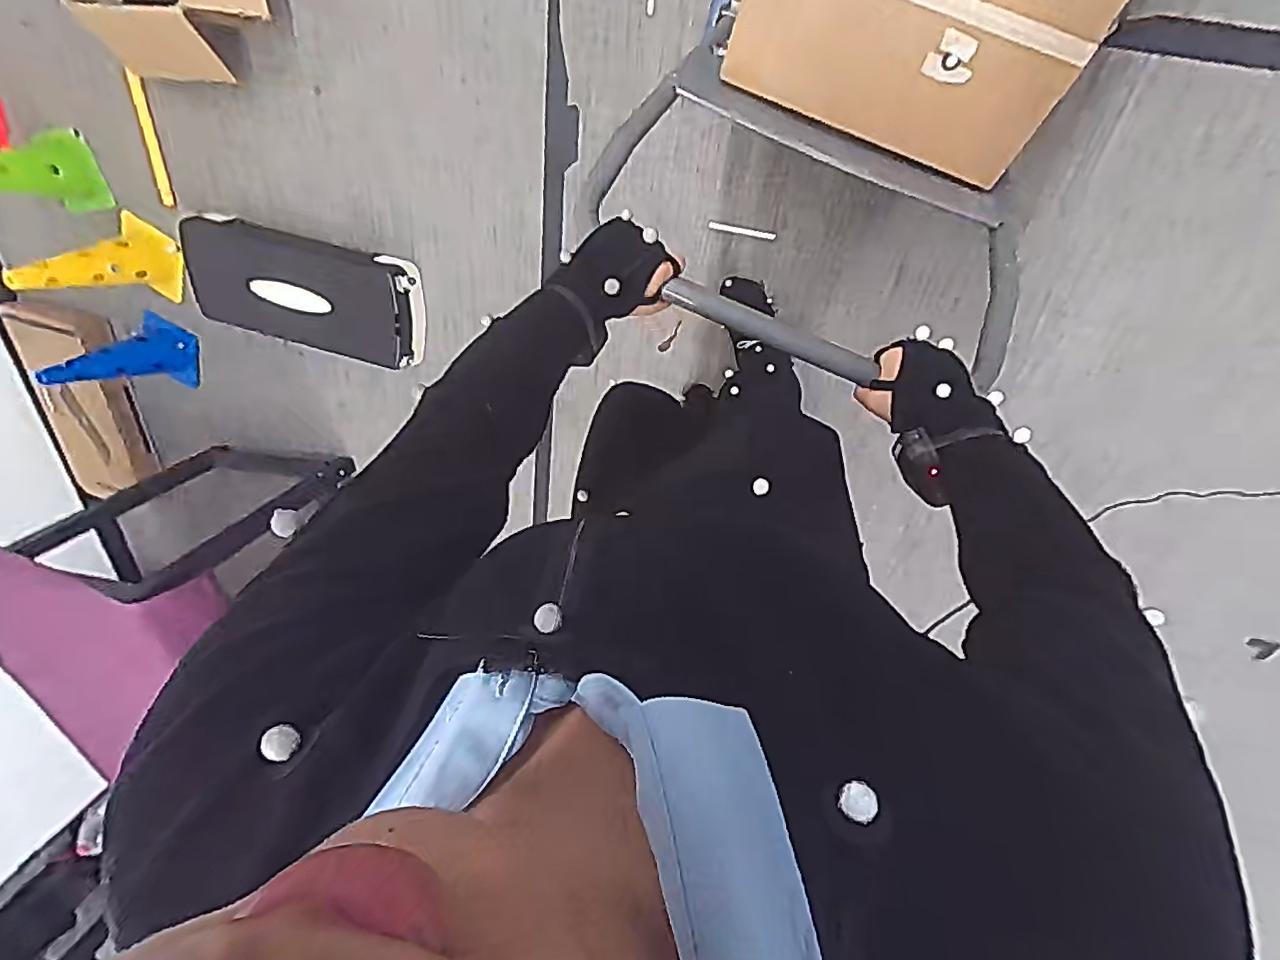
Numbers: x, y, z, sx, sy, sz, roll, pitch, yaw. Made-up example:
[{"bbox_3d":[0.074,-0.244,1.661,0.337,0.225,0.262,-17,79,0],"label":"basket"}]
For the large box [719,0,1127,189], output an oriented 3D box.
[{"bbox_3d":[0.366,-0.661,0.708,0.408,0.320,0.320,23,143,1],"label":"large box"}]
